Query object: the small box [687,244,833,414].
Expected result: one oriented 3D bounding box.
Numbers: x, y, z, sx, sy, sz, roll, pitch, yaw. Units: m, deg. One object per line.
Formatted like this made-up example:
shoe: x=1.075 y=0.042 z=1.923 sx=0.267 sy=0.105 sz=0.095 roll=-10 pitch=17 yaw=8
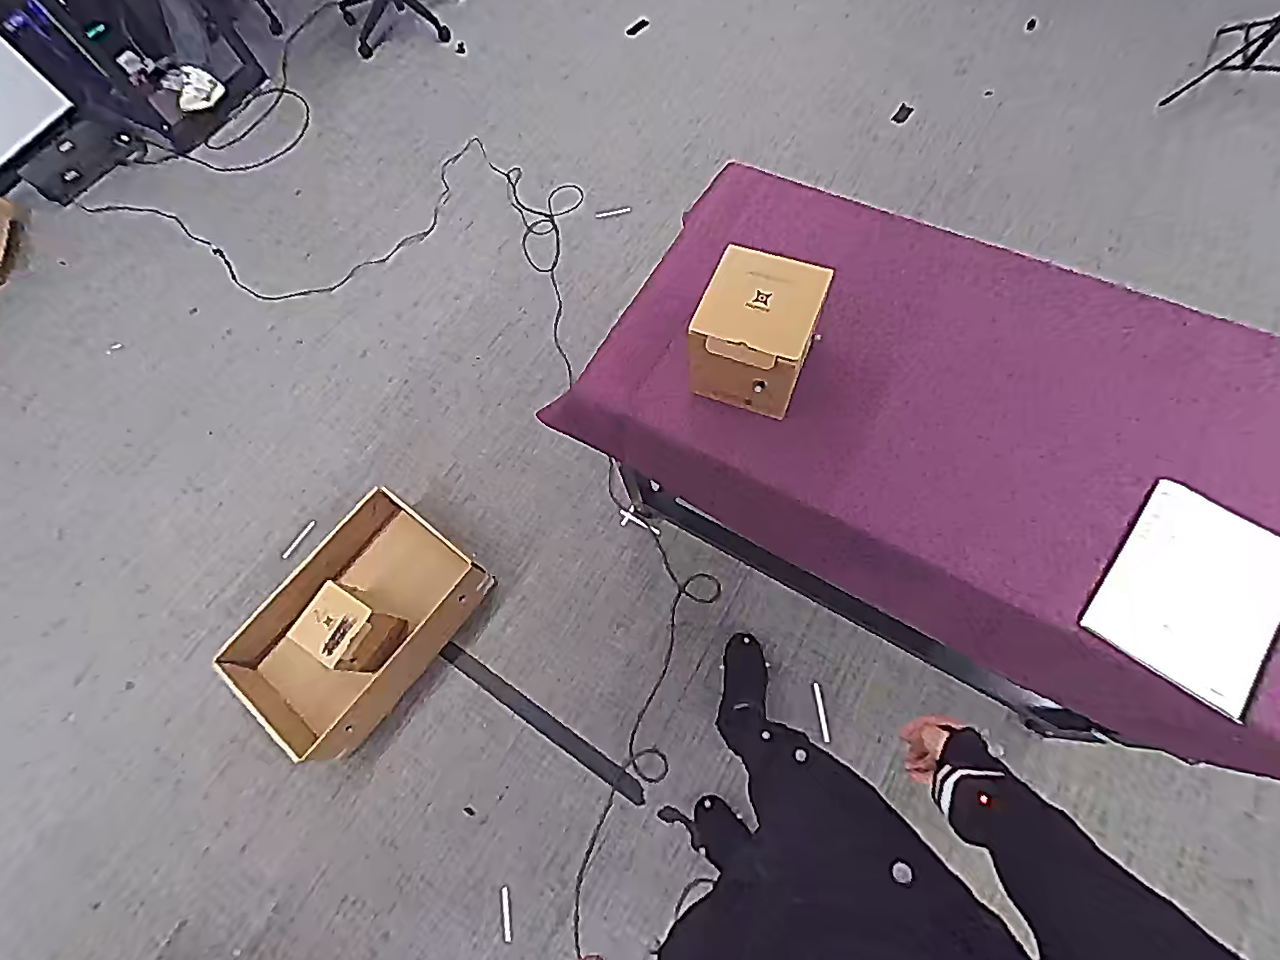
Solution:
small box: x=0.184 y=-0.231 z=0.857 sx=0.168 sy=0.176 sz=0.179 roll=21 pitch=72 yaw=13
